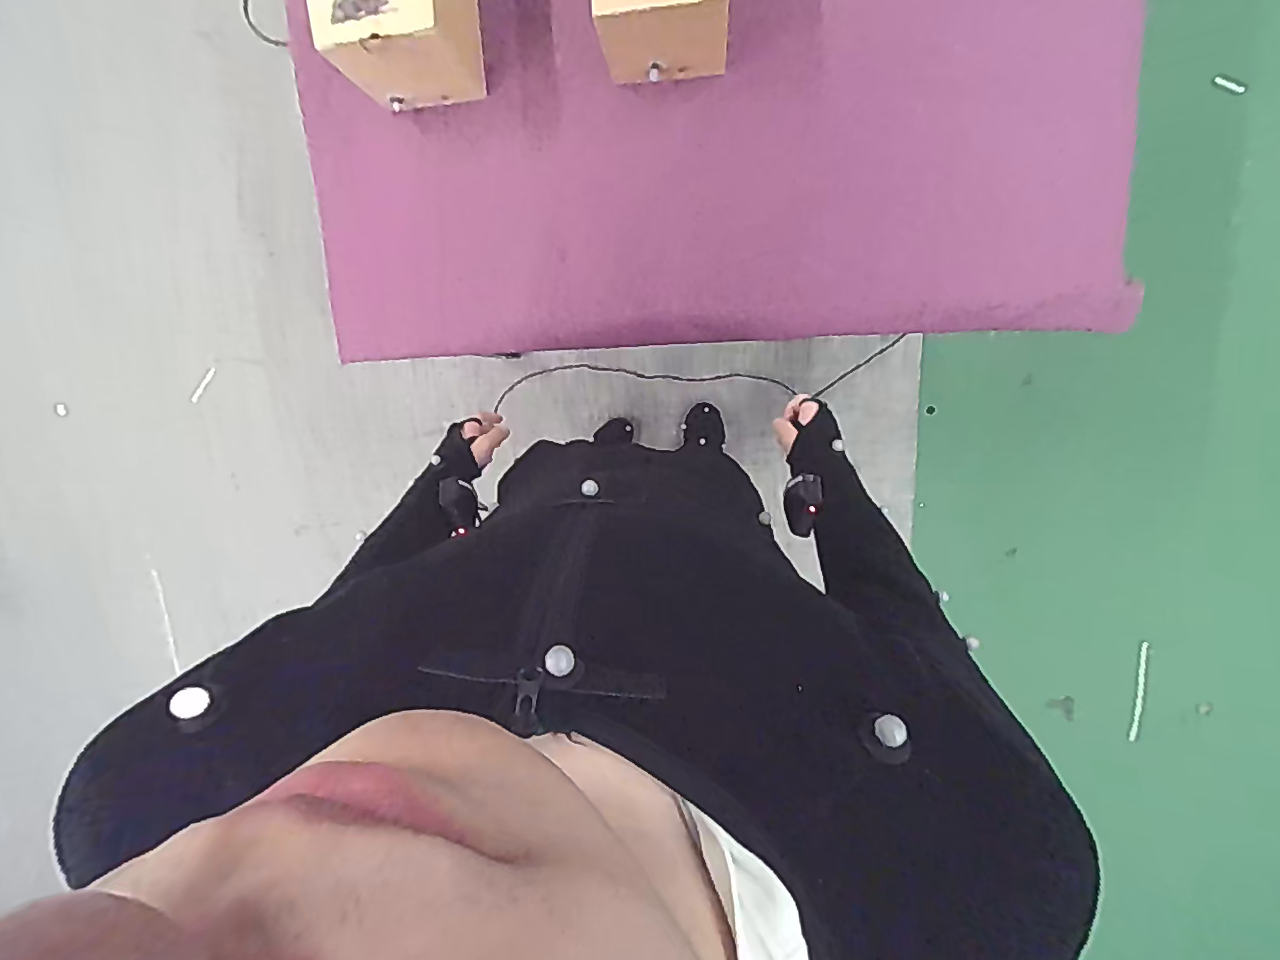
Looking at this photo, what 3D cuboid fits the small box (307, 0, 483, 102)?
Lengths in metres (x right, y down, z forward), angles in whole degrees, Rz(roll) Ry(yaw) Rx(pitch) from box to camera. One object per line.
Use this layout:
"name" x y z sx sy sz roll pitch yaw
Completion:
"small box" -0.328 -0.651 0.740 0.168 0.176 0.179 -2 99 6

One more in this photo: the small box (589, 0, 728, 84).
"small box" 0.028 -0.659 0.700 0.168 0.176 0.179 -1 100 7
